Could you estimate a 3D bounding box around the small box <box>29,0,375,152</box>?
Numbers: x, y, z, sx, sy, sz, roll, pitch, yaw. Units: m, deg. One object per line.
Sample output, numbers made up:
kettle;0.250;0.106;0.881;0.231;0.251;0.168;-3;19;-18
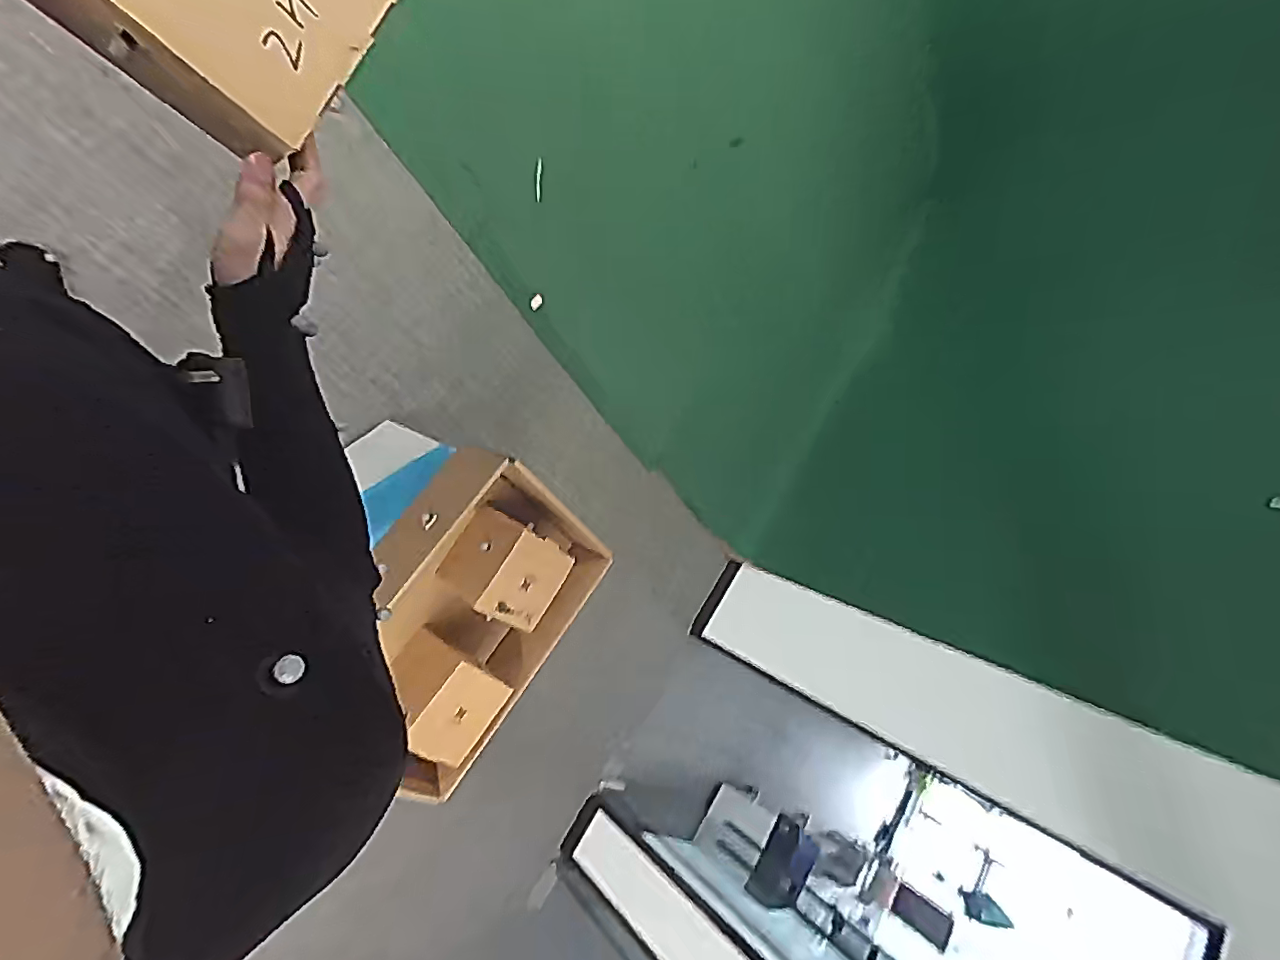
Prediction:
small box;-0.315;-0.369;0.384;0.179;0.176;0.168;33;84;-46
